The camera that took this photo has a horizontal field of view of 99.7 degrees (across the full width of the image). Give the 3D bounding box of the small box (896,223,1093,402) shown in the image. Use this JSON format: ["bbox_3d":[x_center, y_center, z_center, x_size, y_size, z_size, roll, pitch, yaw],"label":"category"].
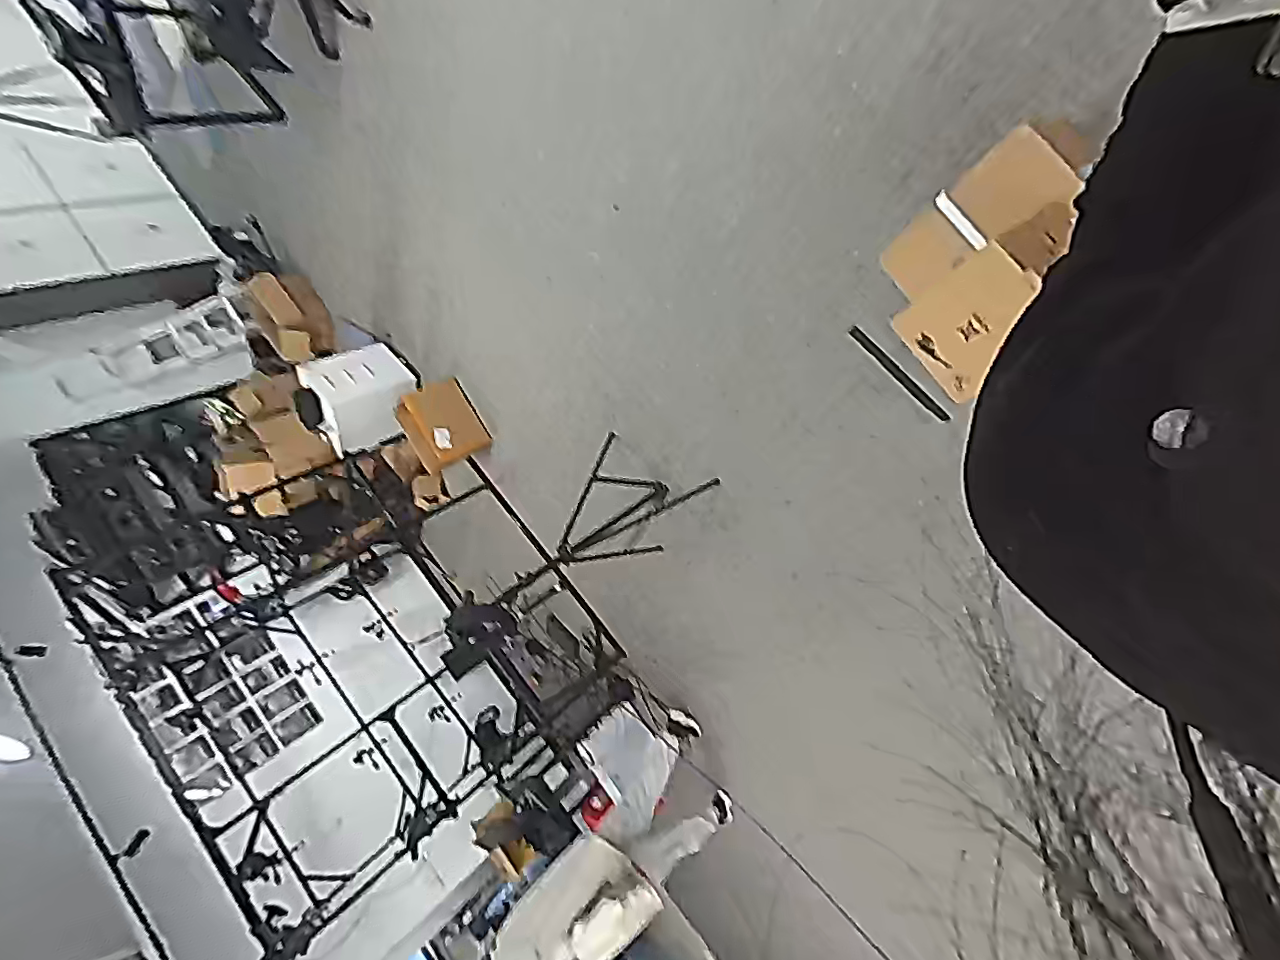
[{"bbox_3d":[0.528,-0.251,0.802,0.168,0.176,0.179,53,142,6],"label":"small box"}]
